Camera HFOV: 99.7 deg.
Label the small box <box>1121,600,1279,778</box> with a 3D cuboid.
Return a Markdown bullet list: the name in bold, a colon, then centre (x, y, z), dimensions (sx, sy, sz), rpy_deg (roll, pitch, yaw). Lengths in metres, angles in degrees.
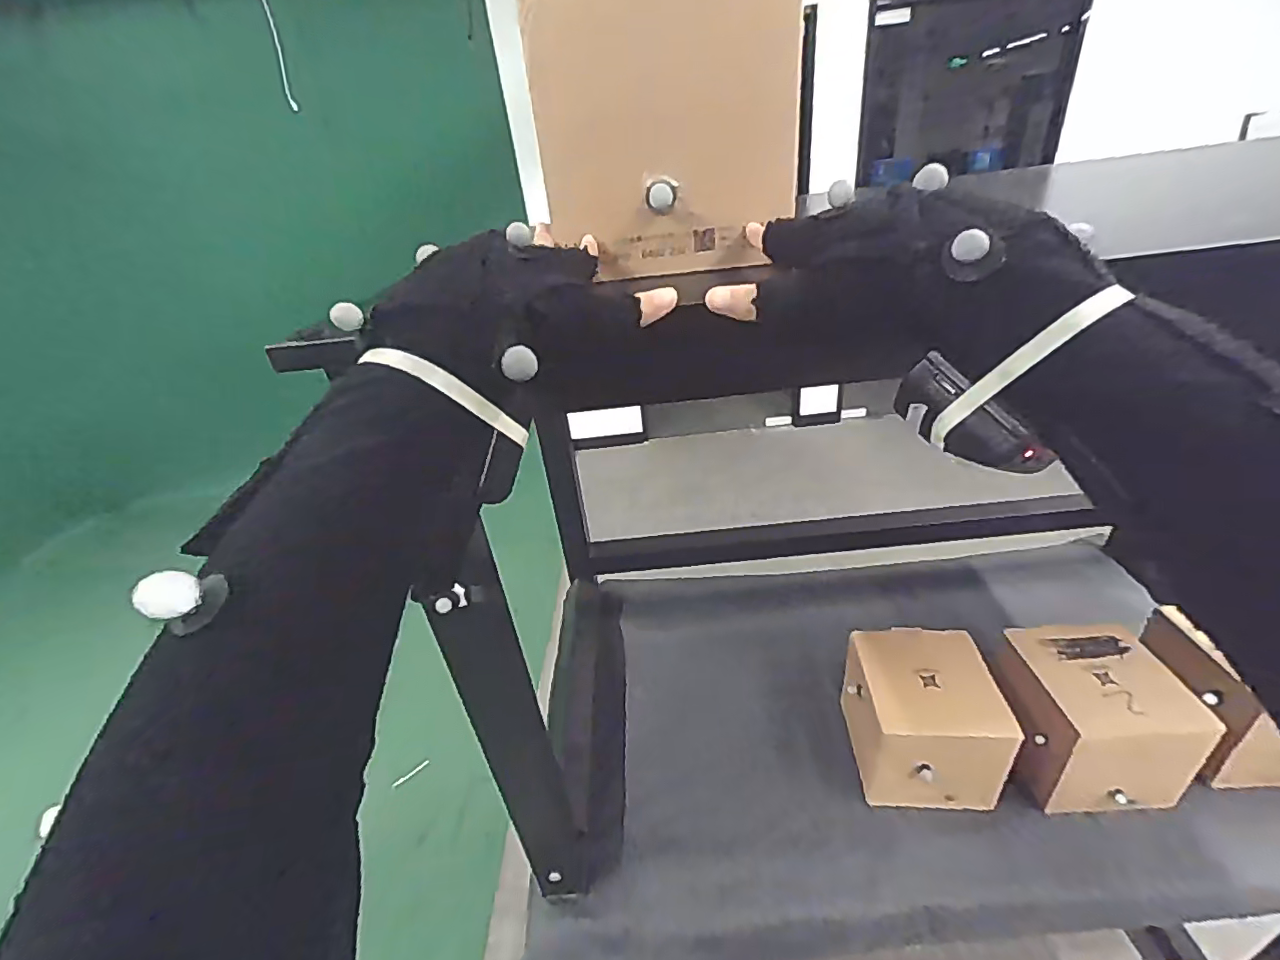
- **small box**: centre (0.839, 0.293, 0.754), dimensions (0.168, 0.176, 0.179), rpy_deg (-4, 30, 5)

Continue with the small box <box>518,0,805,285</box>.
- **small box**: centre (0.019, -0.254, 0.413), dimensions (0.168, 0.176, 0.179), rpy_deg (-5, 31, 3)

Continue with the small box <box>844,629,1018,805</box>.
- **small box**: centre (0.400, 0.338, 0.778), dimensions (0.168, 0.176, 0.179), rpy_deg (-2, 30, 8)
